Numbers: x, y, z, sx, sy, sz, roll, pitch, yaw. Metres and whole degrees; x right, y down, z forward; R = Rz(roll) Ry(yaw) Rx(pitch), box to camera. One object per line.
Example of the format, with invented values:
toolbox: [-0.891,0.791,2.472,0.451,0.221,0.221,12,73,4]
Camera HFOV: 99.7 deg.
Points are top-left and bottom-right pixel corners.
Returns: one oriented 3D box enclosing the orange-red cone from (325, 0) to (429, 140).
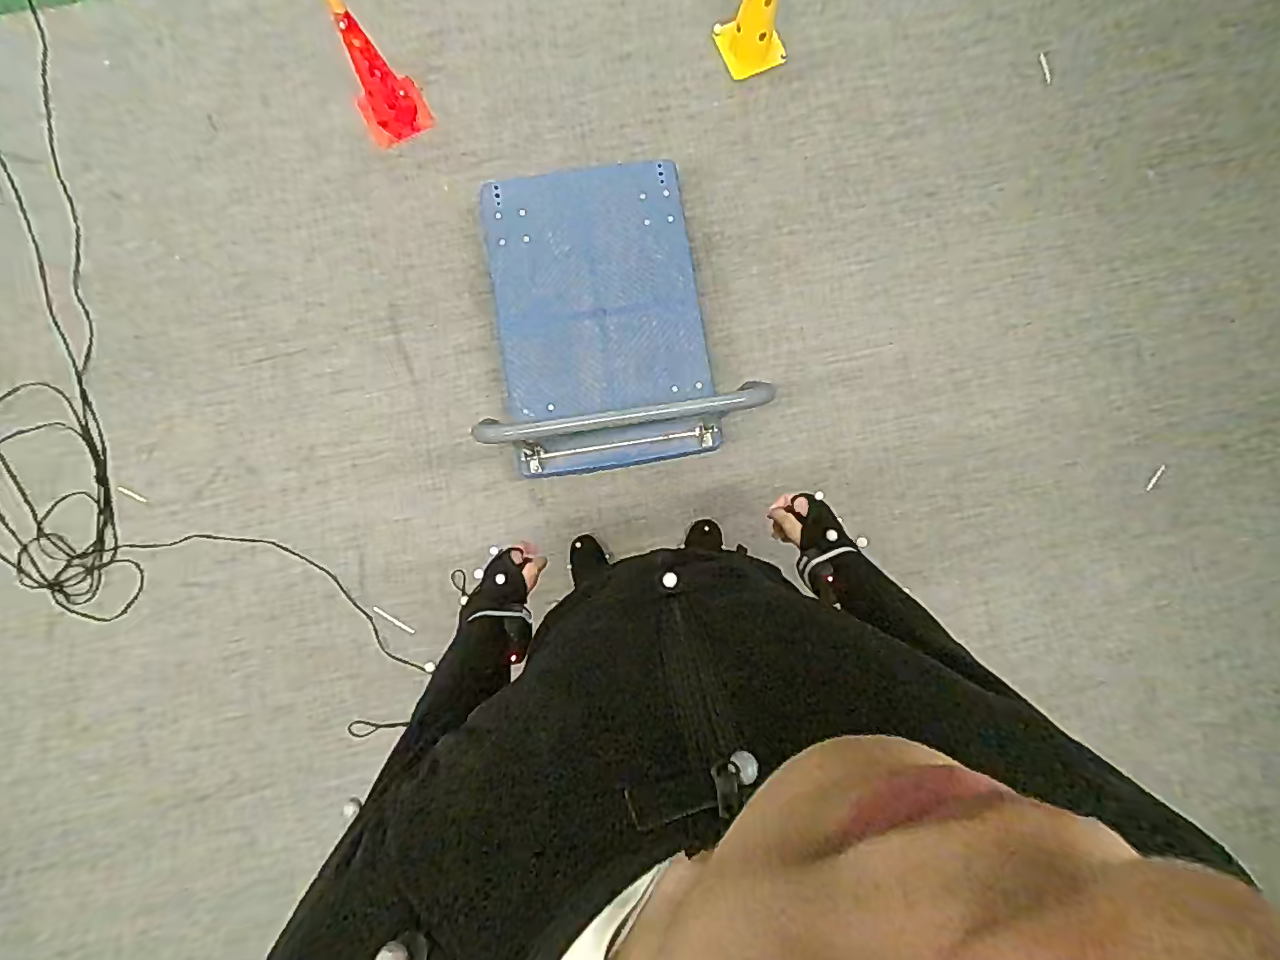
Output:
orange-red cone: [-0.797,-1.218,1.567,0.199,0.360,0.198,-27,86,-2]
